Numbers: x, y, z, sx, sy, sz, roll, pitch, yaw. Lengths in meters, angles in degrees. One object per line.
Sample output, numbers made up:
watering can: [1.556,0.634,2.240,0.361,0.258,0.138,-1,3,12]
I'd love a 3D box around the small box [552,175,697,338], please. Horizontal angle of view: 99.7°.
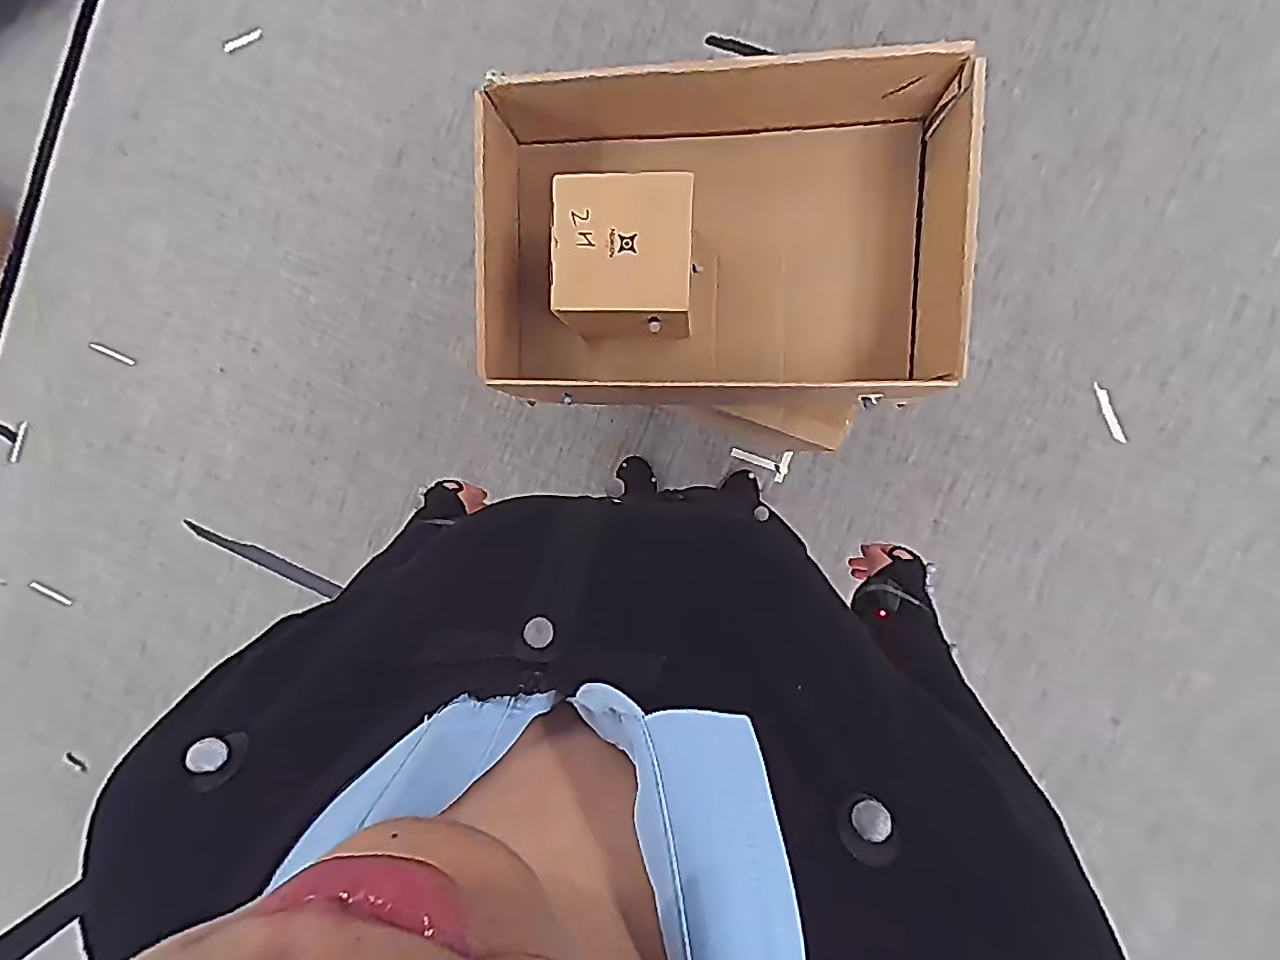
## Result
small box: [-0.013,-0.294,0.743,0.179,0.176,0.168,3,94,7]
